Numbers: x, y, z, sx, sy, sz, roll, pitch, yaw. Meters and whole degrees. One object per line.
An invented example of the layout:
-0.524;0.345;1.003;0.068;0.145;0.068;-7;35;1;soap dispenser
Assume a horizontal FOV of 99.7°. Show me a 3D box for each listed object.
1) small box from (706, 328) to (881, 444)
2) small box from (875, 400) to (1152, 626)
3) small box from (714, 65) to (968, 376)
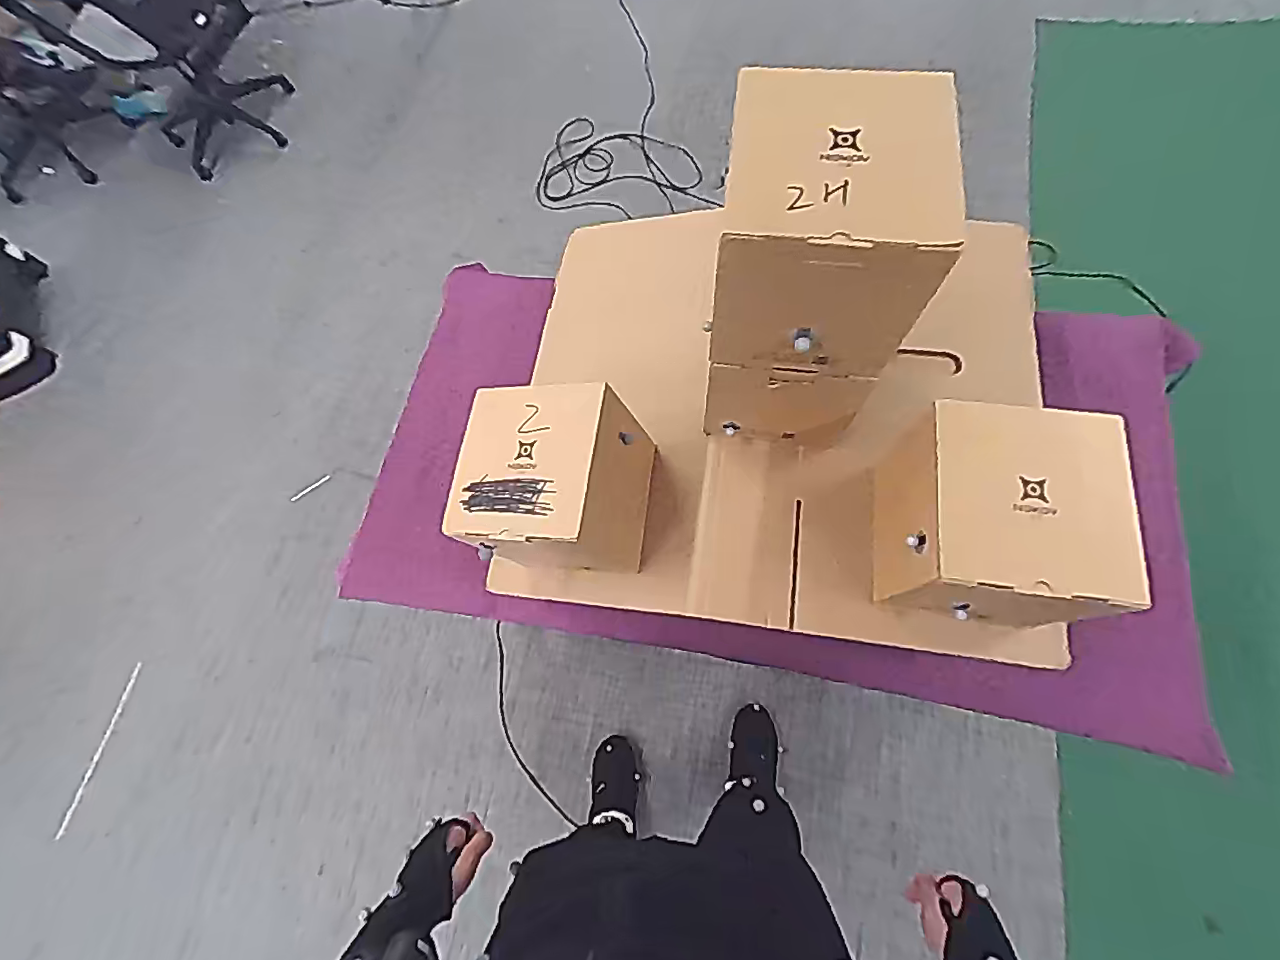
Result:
0.169;-0.156;0.626;0.168;0.176;0.179;7;70;6;small box
0.349;0.042;0.544;0.168;0.176;0.179;7;72;7;small box
0.157;-0.215;0.474;0.168;0.176;0.179;7;71;7;small box
